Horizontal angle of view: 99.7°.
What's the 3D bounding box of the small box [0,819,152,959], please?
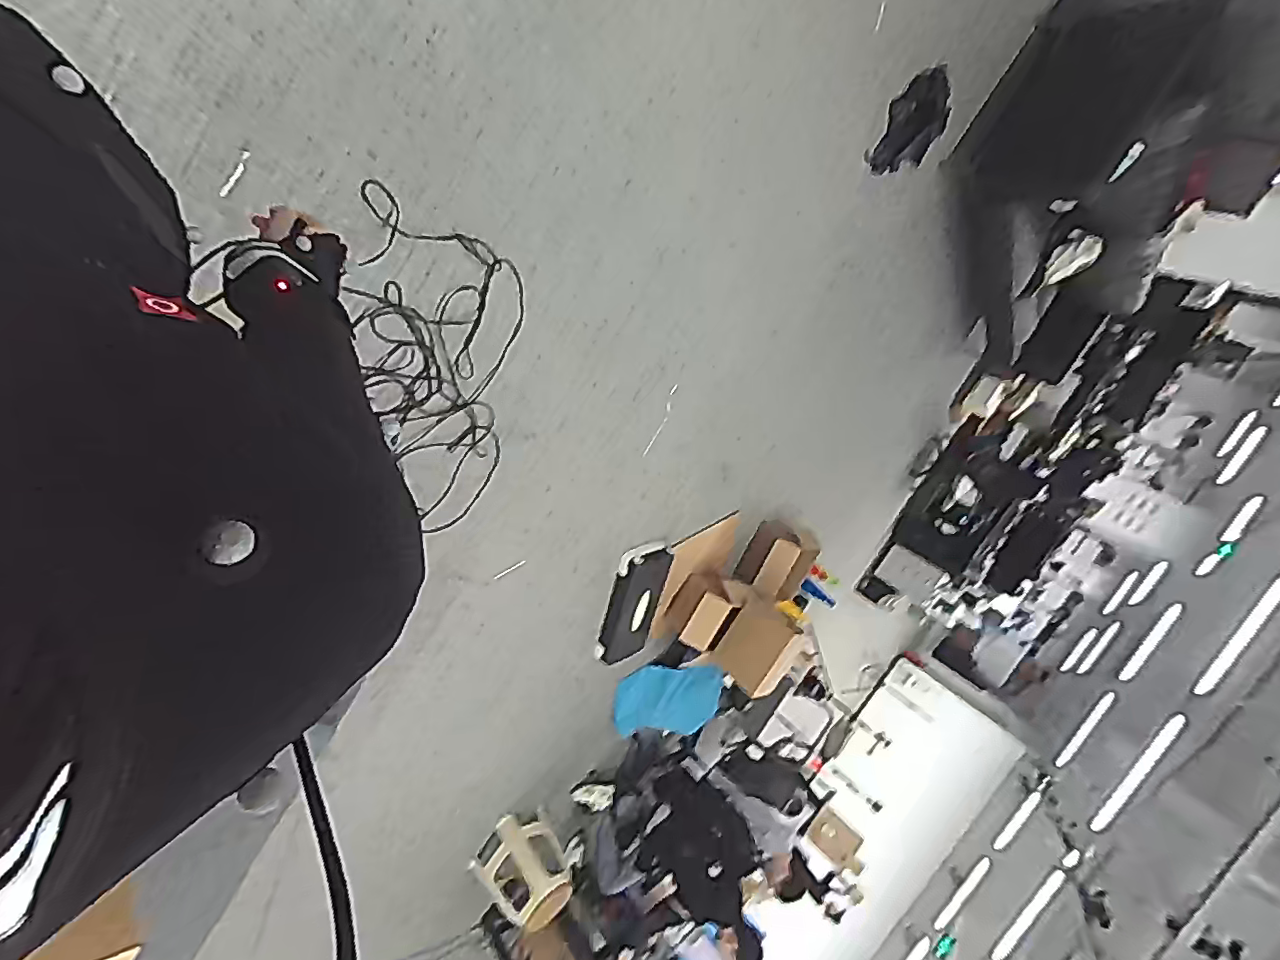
[{"bbox_3d":[-0.679,0.512,0.580,0.168,0.176,0.179,-57,145,6],"label":"small box"}]
